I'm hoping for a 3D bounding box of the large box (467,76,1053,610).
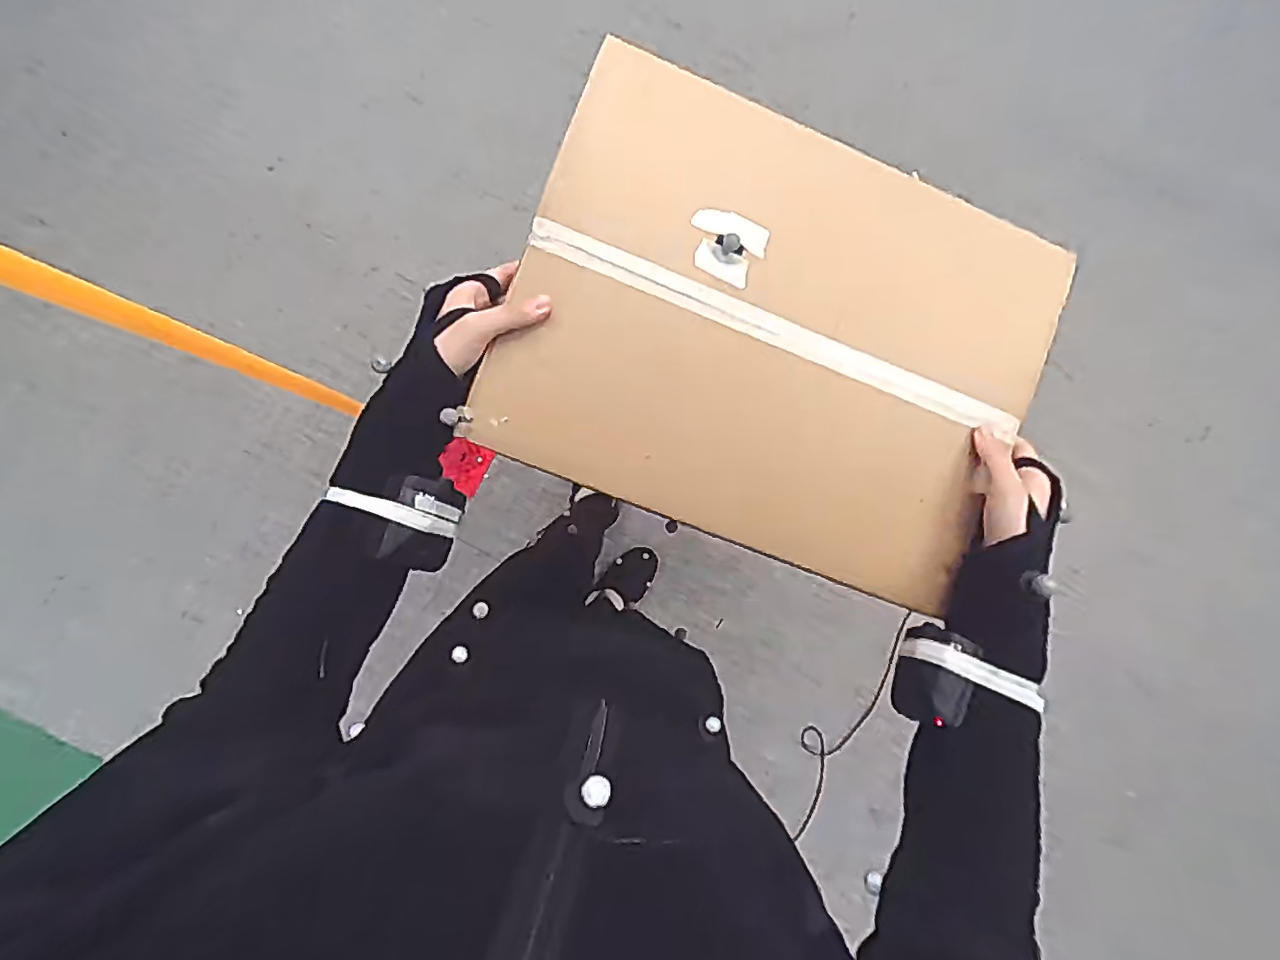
[{"bbox_3d":[0.093,-0.103,0.574,0.408,0.320,0.320,21,89,-5],"label":"large box"}]
